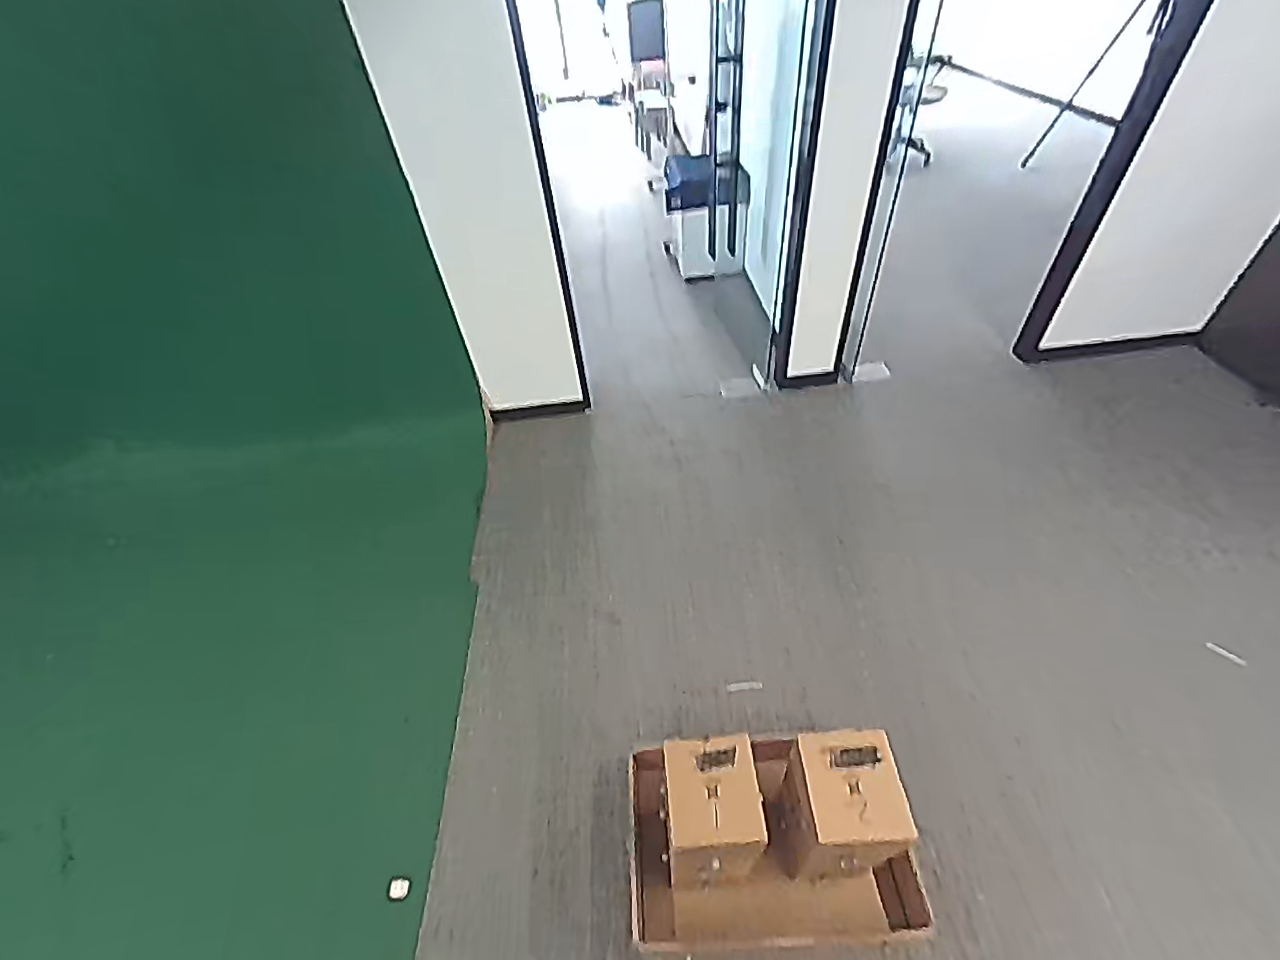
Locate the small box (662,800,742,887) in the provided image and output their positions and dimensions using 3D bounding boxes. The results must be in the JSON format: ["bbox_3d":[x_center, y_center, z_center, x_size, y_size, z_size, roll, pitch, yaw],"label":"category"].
[{"bbox_3d":[0.140,0.831,1.257,0.168,0.176,0.179,-4,46,1],"label":"small box"}]

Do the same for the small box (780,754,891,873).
[{"bbox_3d":[0.397,0.701,1.134,0.168,0.176,0.179,-6,45,3],"label":"small box"}]

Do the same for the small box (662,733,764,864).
[{"bbox_3d":[0.129,0.604,1.024,0.168,0.176,0.179,-5,46,0],"label":"small box"}]

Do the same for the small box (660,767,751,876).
[{"bbox_3d":[0.135,0.719,1.142,0.168,0.176,0.179,-5,45,0],"label":"small box"}]
